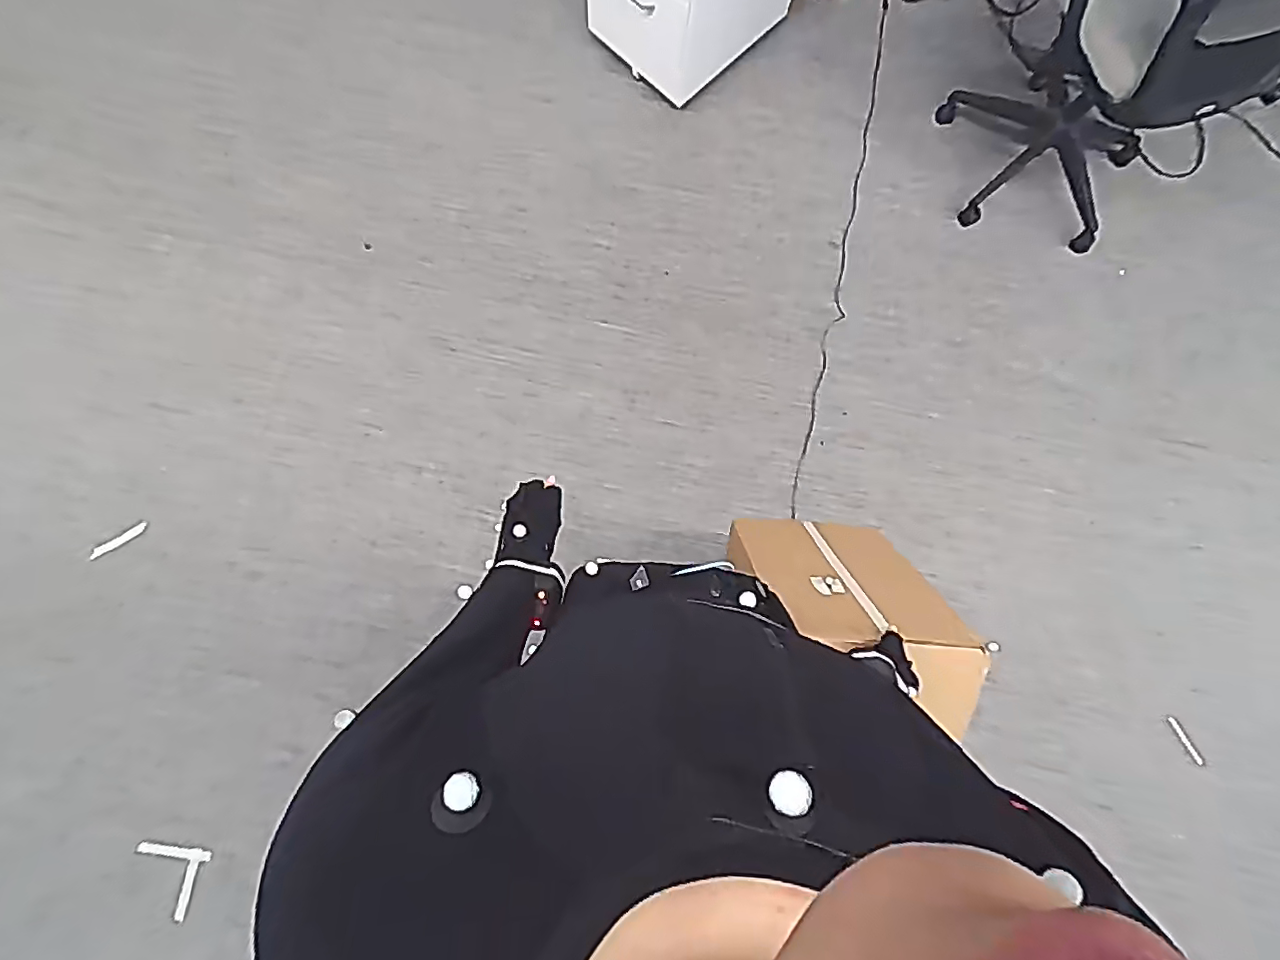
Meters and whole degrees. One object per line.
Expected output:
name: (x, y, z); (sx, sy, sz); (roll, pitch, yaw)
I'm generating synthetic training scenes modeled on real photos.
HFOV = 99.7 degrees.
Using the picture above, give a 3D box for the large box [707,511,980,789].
large box: (0.325, 0.290, 1.016); (0.320, 0.408, 0.320); (4, 112, -3)
